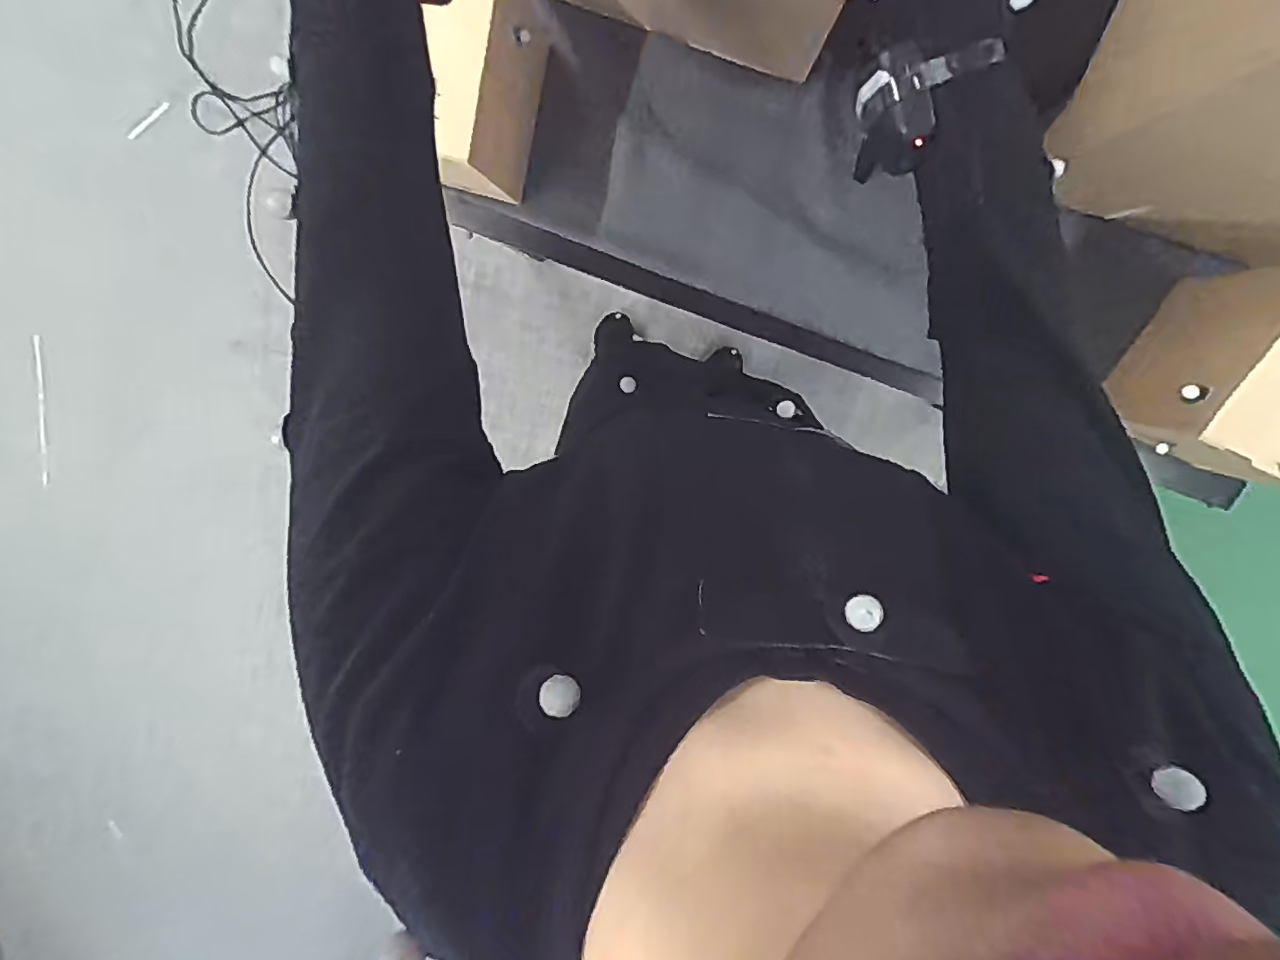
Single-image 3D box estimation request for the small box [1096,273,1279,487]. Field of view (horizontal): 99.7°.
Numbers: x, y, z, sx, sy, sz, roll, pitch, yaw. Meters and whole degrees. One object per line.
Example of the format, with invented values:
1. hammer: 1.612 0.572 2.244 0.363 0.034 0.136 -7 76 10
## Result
1. small box: 0.654 -0.107 0.574 0.168 0.176 0.179 25 109 -1
